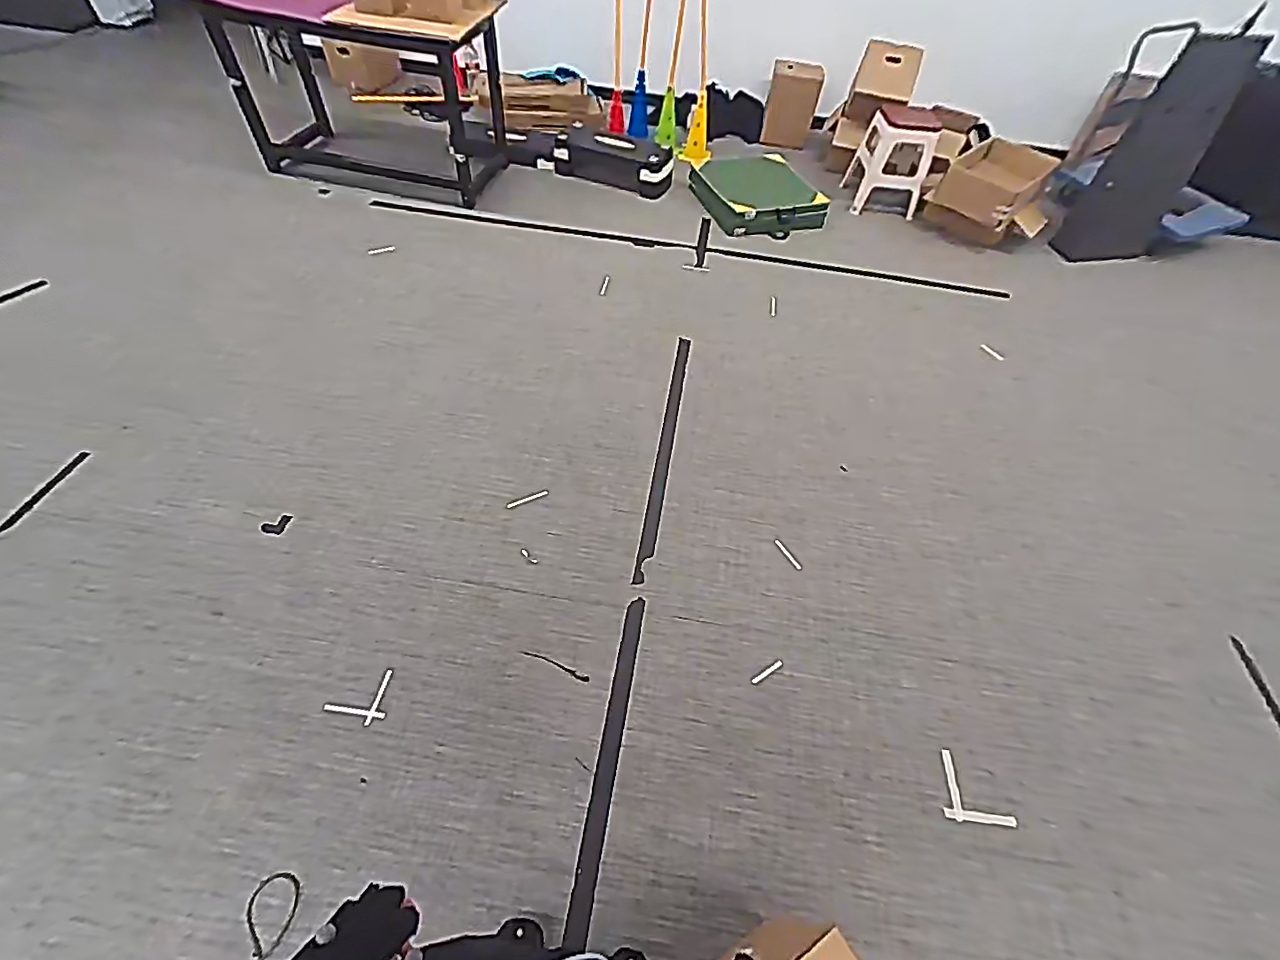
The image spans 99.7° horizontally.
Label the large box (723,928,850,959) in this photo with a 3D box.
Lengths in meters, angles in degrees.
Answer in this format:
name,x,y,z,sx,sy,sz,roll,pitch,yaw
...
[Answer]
name,x,y,z,sx,sy,sz,roll,pitch,yaw
large box,0.239,1.000,0.881,0.320,0.408,0.320,-22,57,-22
